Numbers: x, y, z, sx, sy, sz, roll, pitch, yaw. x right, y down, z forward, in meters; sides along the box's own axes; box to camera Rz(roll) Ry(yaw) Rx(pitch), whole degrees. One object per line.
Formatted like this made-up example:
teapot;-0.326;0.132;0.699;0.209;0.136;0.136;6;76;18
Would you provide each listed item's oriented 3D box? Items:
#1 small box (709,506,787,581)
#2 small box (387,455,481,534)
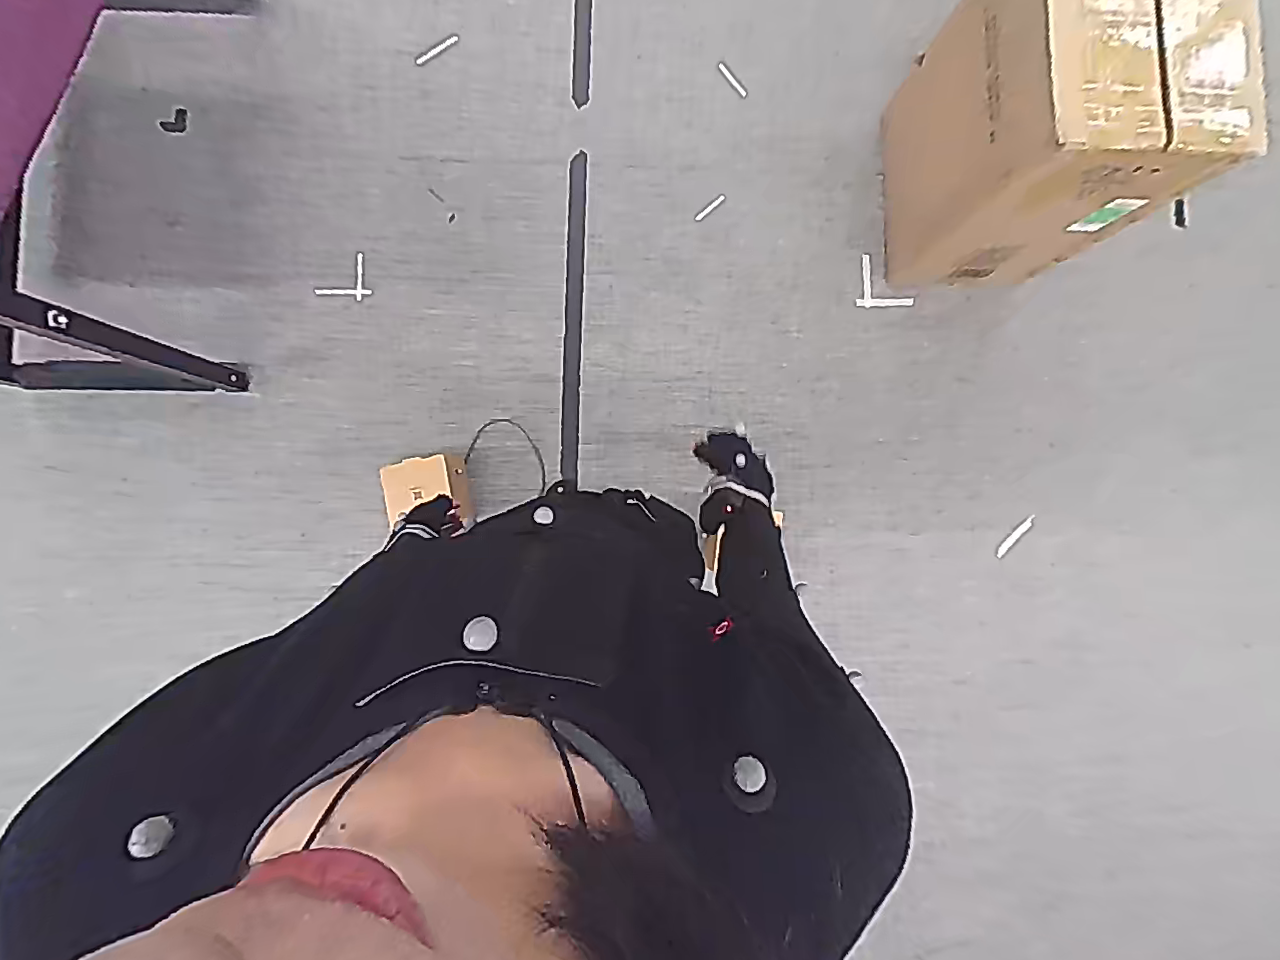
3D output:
small box;0.284;0.166;1.457;0.168;0.176;0.179;7;87;-2
small box;-0.537;0.040;1.426;0.168;0.176;0.179;-12;89;0
